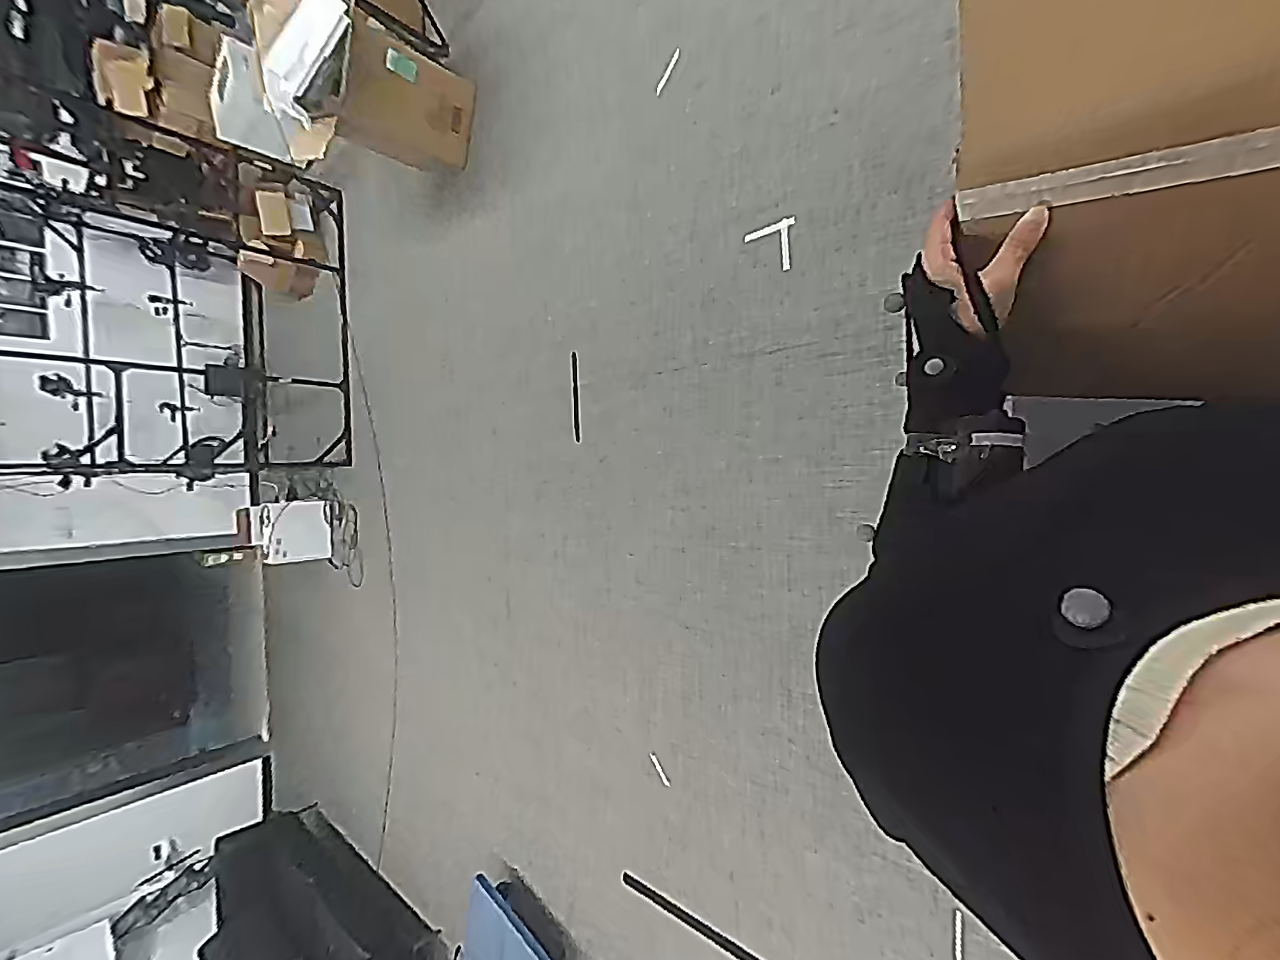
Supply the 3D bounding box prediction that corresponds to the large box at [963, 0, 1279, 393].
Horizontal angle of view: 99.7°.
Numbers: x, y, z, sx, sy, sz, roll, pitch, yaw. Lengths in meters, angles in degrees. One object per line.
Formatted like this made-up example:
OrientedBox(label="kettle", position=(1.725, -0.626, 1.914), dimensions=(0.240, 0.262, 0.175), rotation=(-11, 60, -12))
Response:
OrientedBox(label="large box", position=(0.479, -0.265, 0.352), dimensions=(0.408, 0.320, 0.320), rotation=(9, 131, 43))
